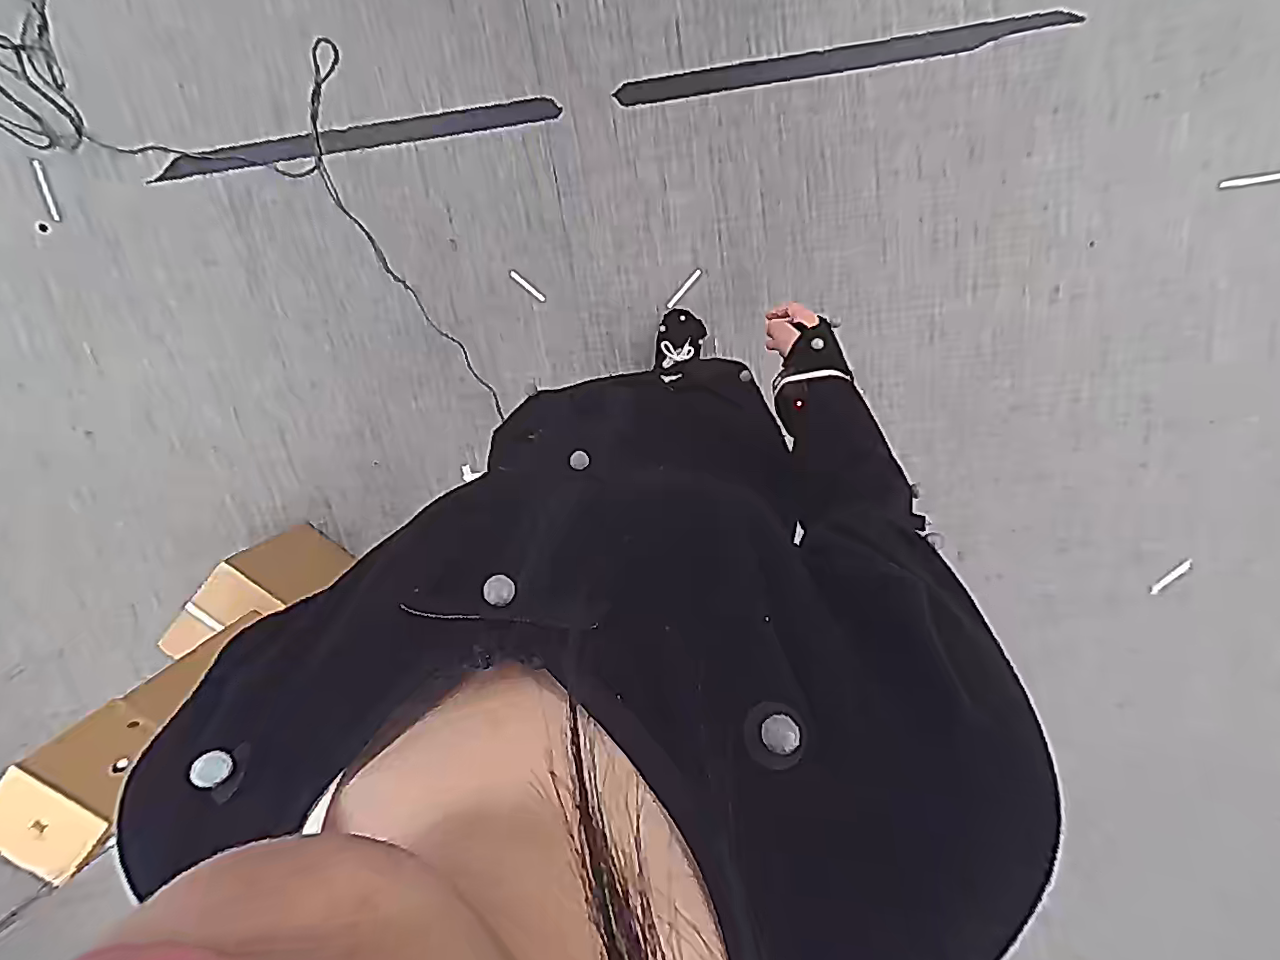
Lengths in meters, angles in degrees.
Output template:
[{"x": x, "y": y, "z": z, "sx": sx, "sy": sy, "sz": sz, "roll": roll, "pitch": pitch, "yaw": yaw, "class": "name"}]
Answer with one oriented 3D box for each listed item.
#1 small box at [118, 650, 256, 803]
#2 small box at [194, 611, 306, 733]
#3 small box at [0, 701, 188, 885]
[{"x": -0.918, "y": 0.480, "z": 1.073, "sx": 0.168, "sy": 0.176, "sz": 0.179, "roll": 40, "pitch": 103, "yaw": -8, "class": "small box"}, {"x": -0.911, "y": 0.438, "z": 1.231, "sx": 0.168, "sy": 0.176, "sz": 0.179, "roll": 40, "pitch": 101, "yaw": -8, "class": "small box"}, {"x": -0.925, "y": 0.516, "z": 0.914, "sx": 0.168, "sy": 0.176, "sz": 0.179, "roll": 40, "pitch": 102, "yaw": -8, "class": "small box"}]
